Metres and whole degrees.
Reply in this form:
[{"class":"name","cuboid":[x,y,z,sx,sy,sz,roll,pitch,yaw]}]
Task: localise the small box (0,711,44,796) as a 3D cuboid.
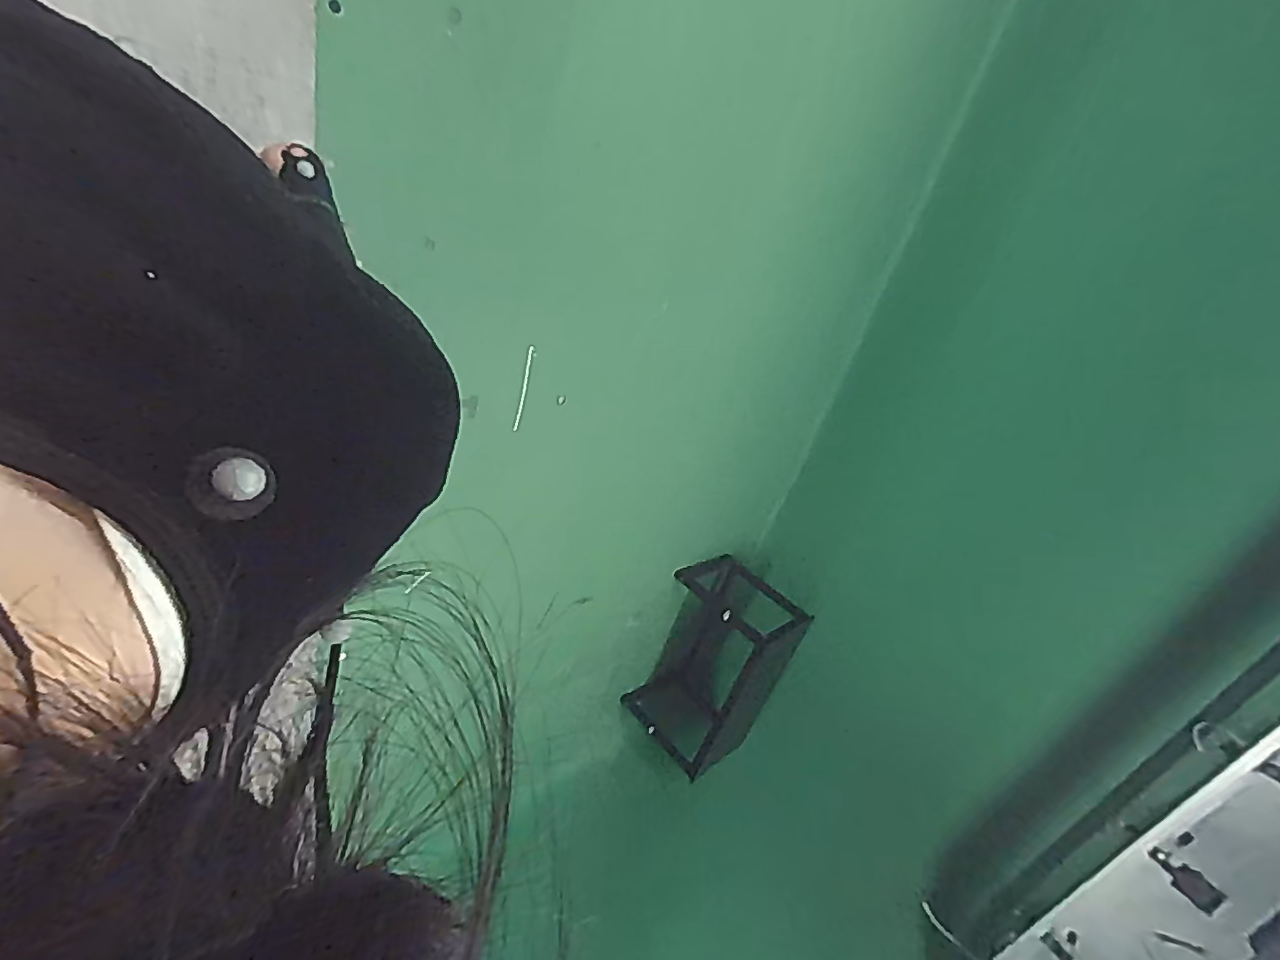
[{"class":"small box","cuboid":[-1.557,0.680,1.278,0.168,0.176,0.179,-14,131,-43]}]
